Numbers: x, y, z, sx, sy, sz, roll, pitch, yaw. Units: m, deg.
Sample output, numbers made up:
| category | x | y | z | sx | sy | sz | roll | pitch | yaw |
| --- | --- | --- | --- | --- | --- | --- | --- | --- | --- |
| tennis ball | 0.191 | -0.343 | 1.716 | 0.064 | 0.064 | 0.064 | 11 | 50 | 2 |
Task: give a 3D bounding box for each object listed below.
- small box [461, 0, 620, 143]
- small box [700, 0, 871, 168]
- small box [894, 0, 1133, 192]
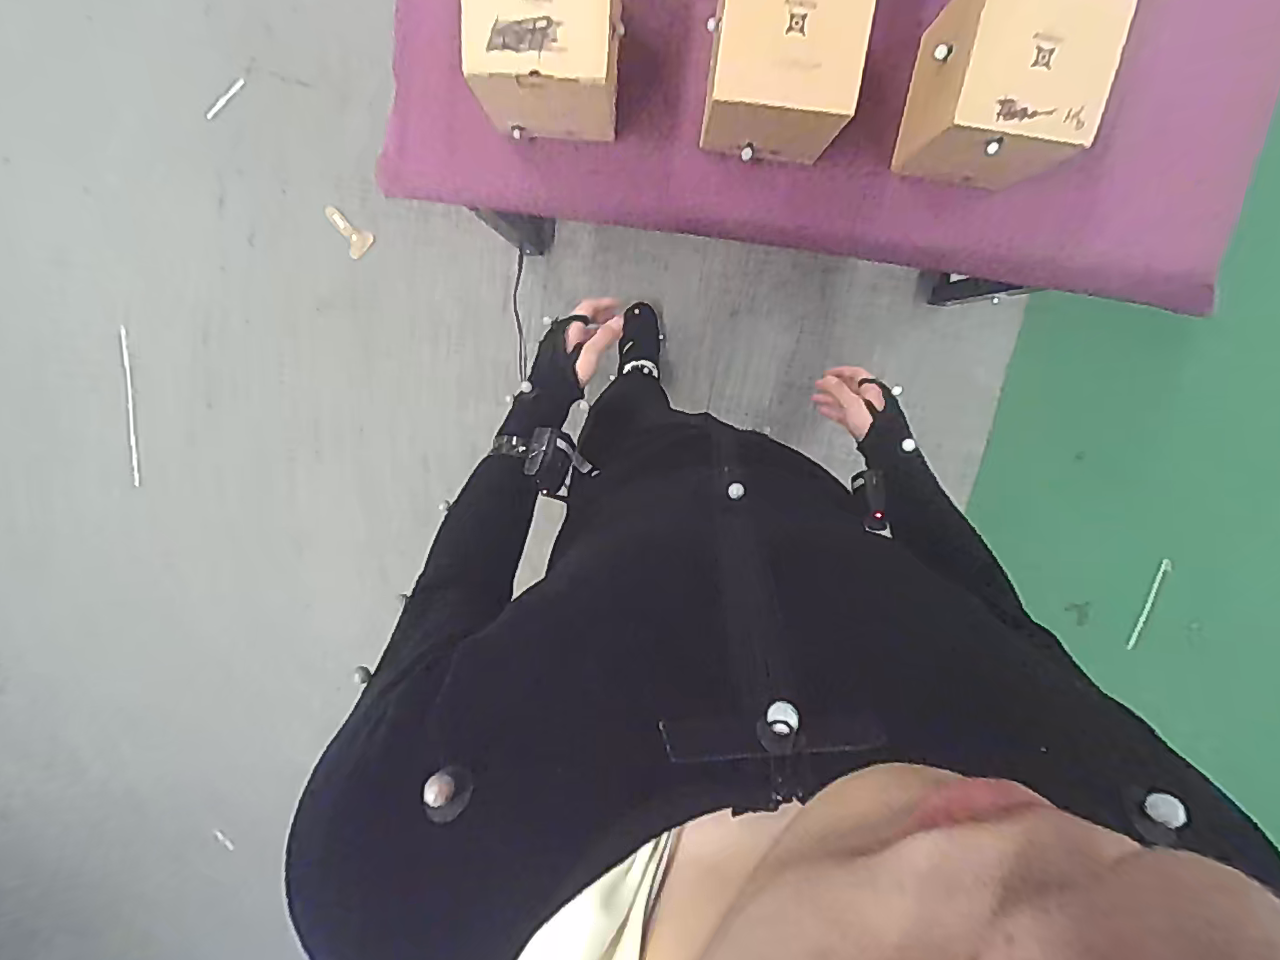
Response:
| category | x | y | z | sx | sy | sz | roll | pitch | yaw |
| --- | --- | --- | --- | --- | --- | --- | --- | --- | --- |
| small box | -0.114 | -0.550 | 0.677 | 0.168 | 0.176 | 0.179 | 4 | 101 | 0 |
| small box | 0.171 | -0.524 | 0.678 | 0.168 | 0.176 | 0.179 | 8 | 104 | 1 |
| small box | 0.445 | -0.490 | 0.676 | 0.168 | 0.176 | 0.179 | 9 | 102 | 0 |
